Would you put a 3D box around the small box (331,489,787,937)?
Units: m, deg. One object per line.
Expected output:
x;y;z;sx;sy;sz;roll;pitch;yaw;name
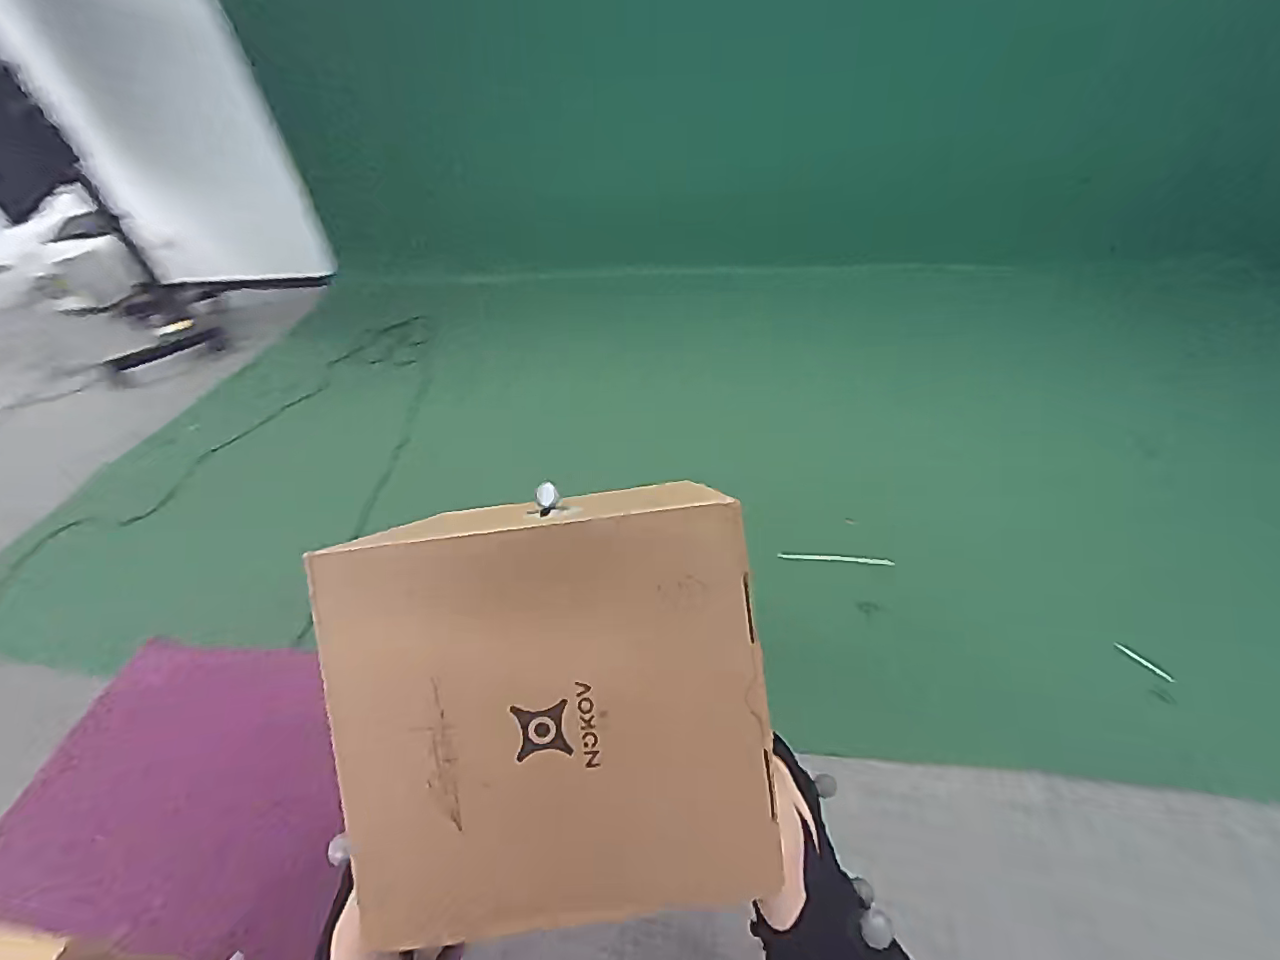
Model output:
-0.032;0.097;0.301;0.179;0.168;0.176;-5;2;0;small box
